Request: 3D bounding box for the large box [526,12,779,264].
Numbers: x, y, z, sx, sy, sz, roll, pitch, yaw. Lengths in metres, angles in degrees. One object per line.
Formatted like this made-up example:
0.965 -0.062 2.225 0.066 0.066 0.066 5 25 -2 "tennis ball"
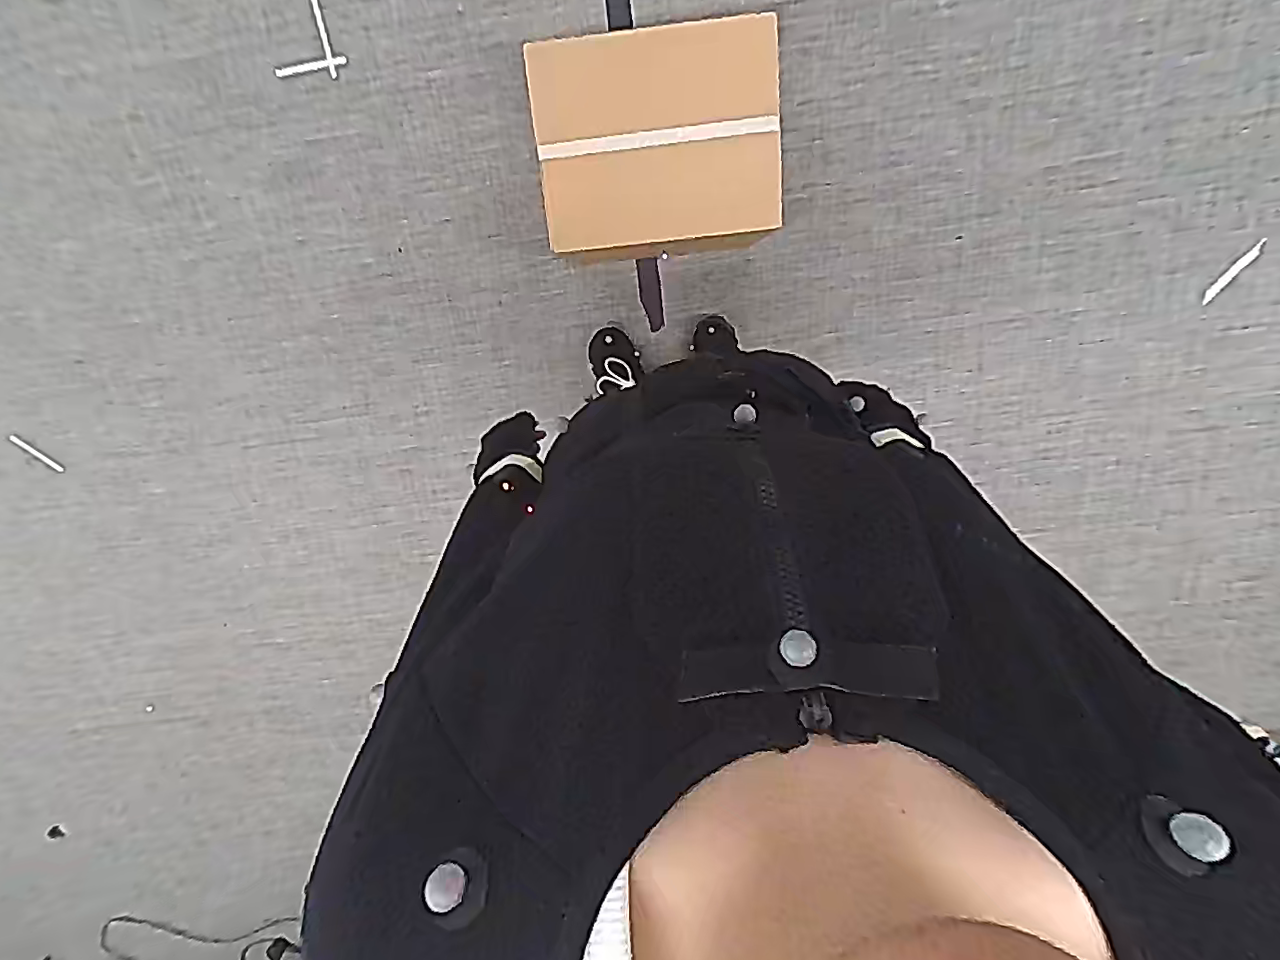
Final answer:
0.028 -0.616 1.045 0.408 0.320 0.320 -5 108 2 "large box"
